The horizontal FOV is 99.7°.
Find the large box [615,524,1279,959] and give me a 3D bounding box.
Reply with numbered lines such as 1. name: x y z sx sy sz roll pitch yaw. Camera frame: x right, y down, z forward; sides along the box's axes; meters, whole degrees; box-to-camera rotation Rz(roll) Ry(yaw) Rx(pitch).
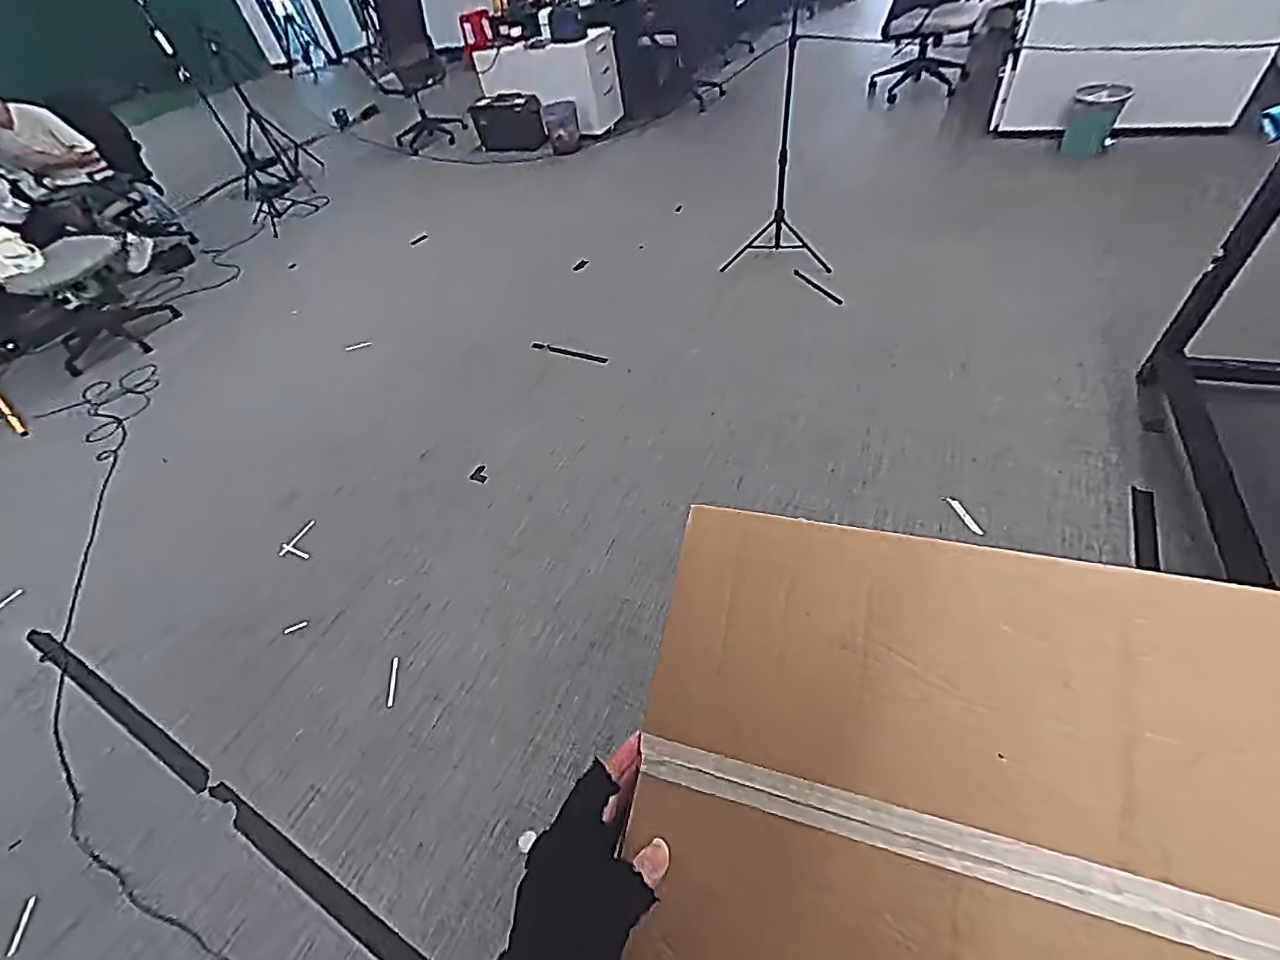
1. large box: 0.233 0.245 0.403 0.408 0.320 0.320 8 73 19
